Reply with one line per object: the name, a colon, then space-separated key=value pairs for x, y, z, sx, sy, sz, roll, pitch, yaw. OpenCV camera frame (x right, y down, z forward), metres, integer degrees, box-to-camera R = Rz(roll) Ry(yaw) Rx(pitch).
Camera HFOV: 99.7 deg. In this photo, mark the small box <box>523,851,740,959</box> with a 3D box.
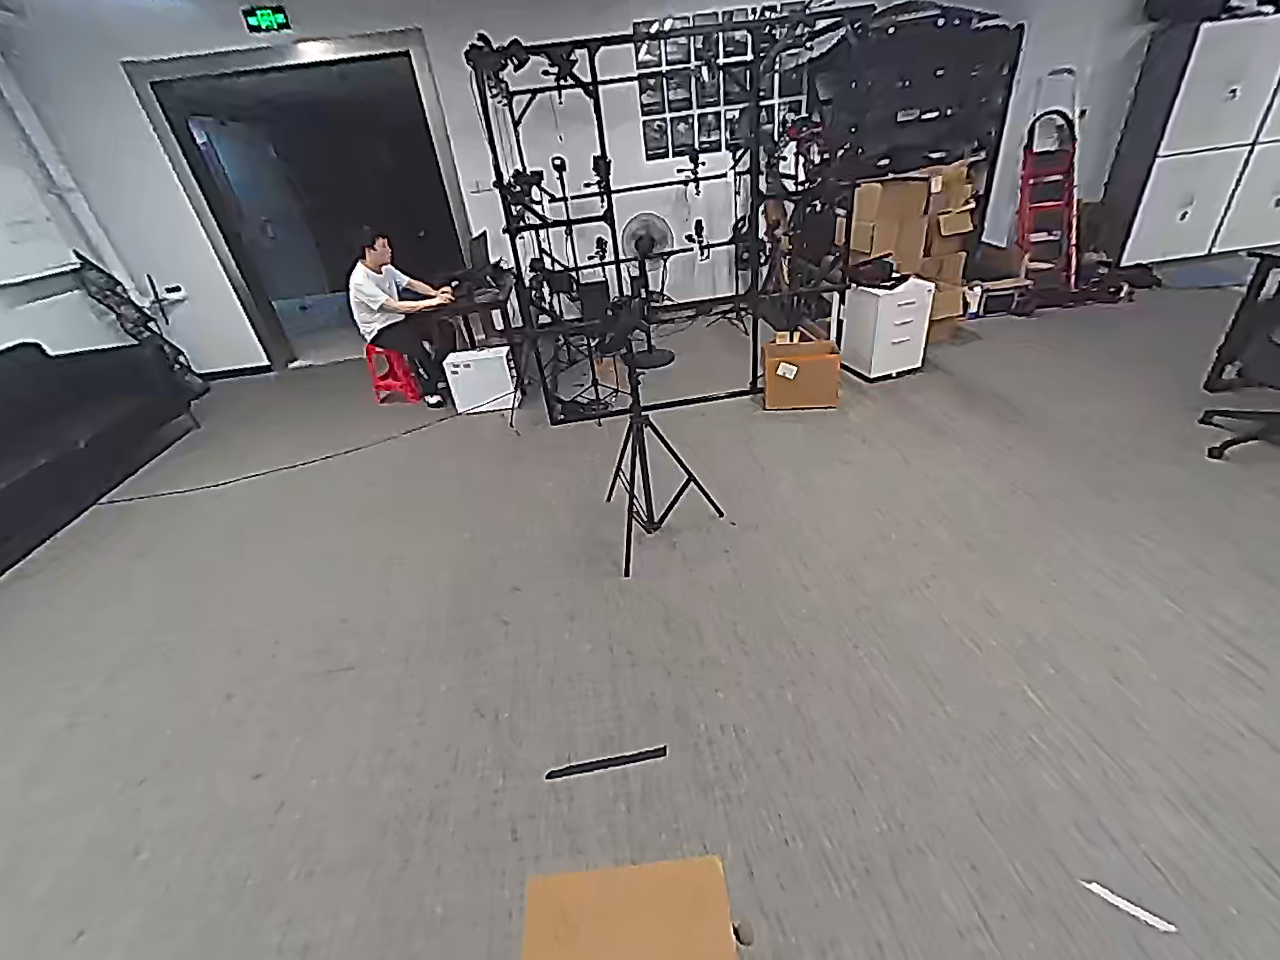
small box: x=0.002 y=0.433 z=0.431 sx=0.168 sy=0.176 sz=0.179 roll=-8 pitch=38 yaw=1
